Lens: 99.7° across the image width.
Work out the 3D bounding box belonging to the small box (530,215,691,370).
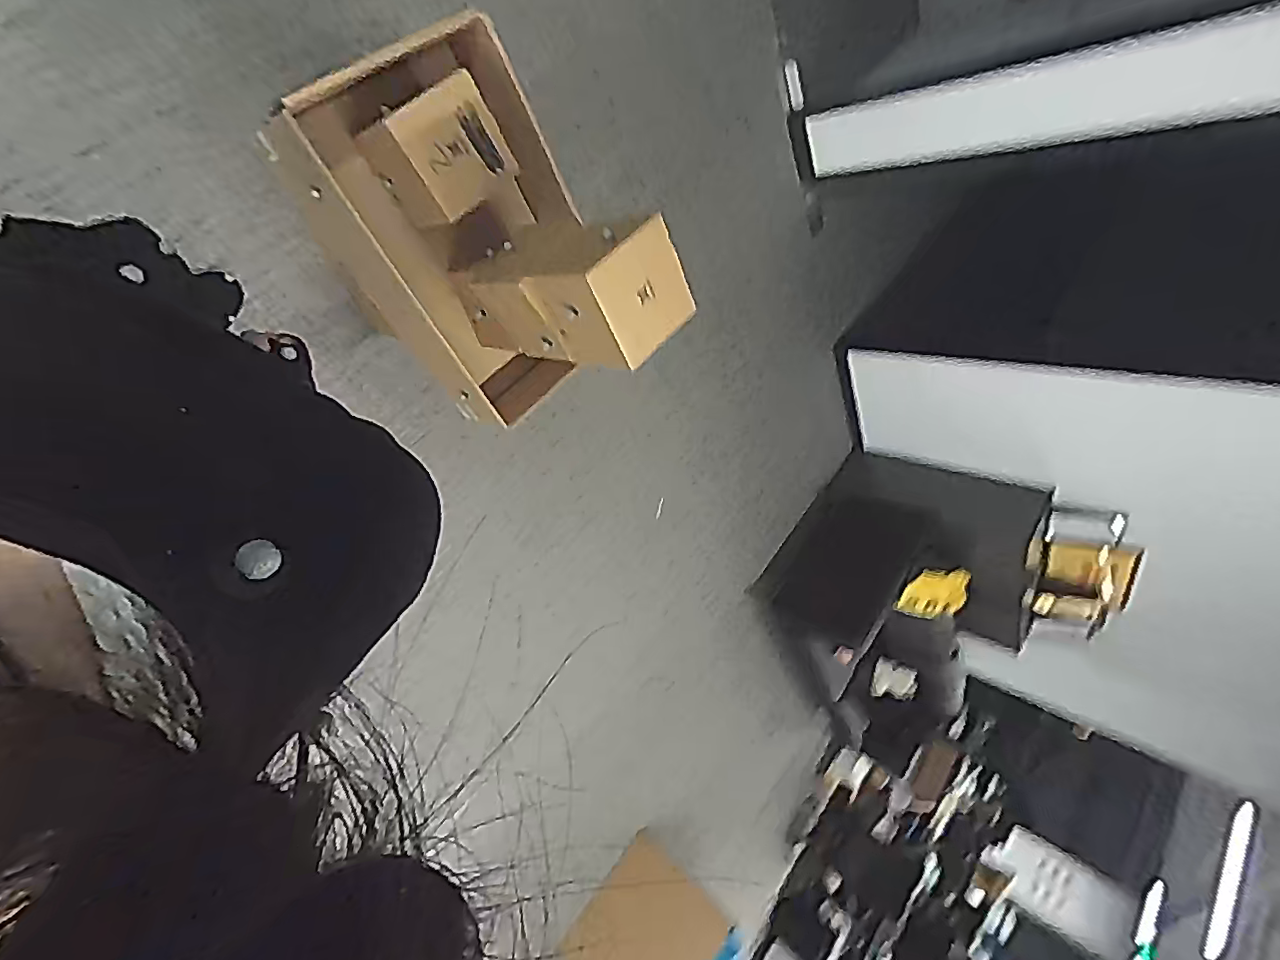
[{"bbox_3d":[-0.054,-0.298,0.875,0.179,0.176,0.168,-48,132,-23],"label":"small box"}]

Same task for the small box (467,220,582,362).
[{"bbox_3d":[-0.173,-0.338,0.978,0.168,0.176,0.179,-55,134,-18],"label":"small box"}]
